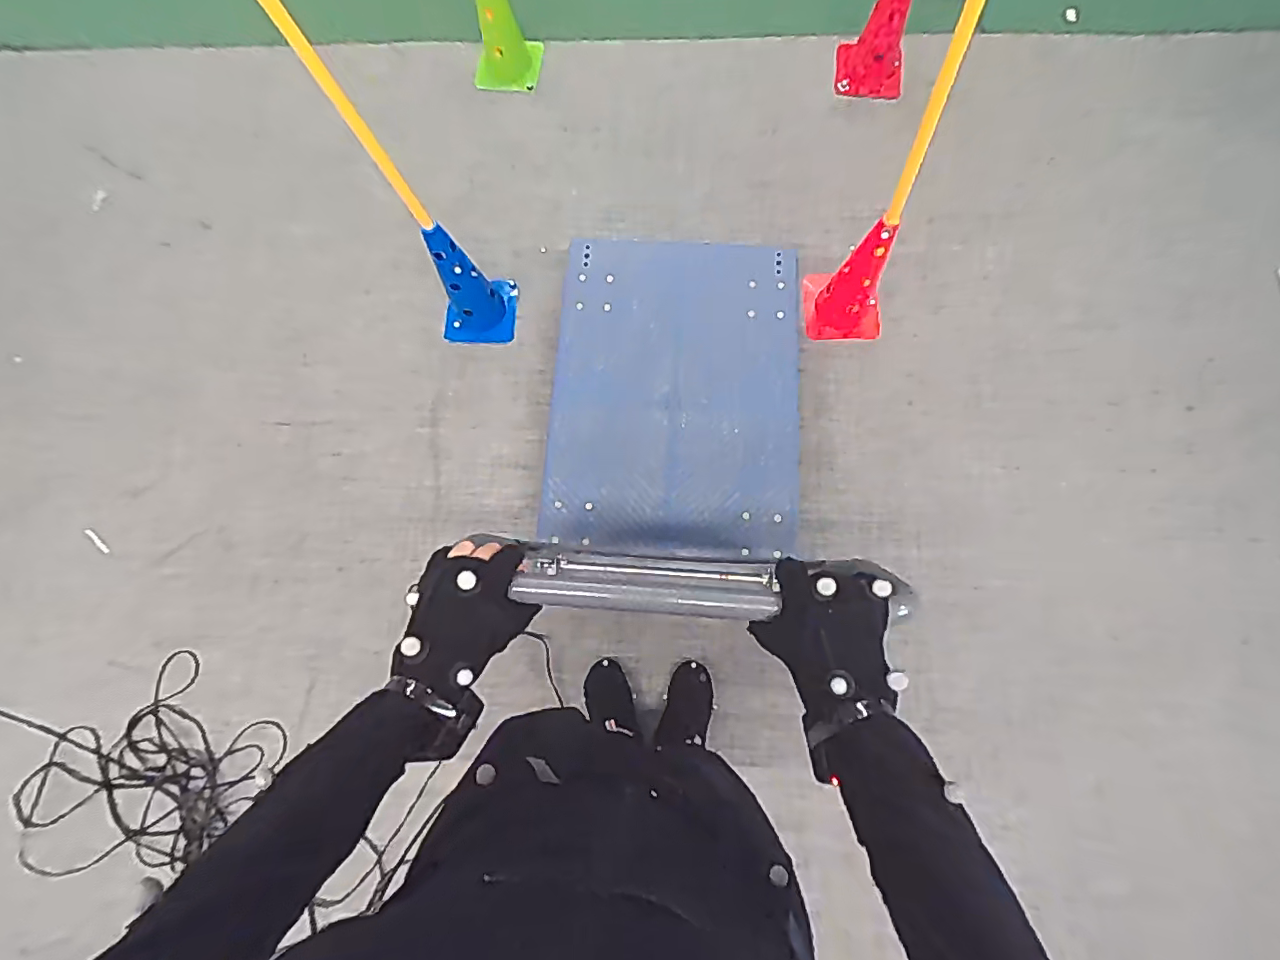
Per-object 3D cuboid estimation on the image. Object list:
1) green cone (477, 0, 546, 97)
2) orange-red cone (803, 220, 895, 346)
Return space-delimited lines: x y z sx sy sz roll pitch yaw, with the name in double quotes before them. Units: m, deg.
"green cone" -0.423 -1.368 1.589 0.202 0.368 0.200 6 76 5
"orange-red cone" 0.546 -0.506 1.344 0.199 0.360 0.198 1 76 4
